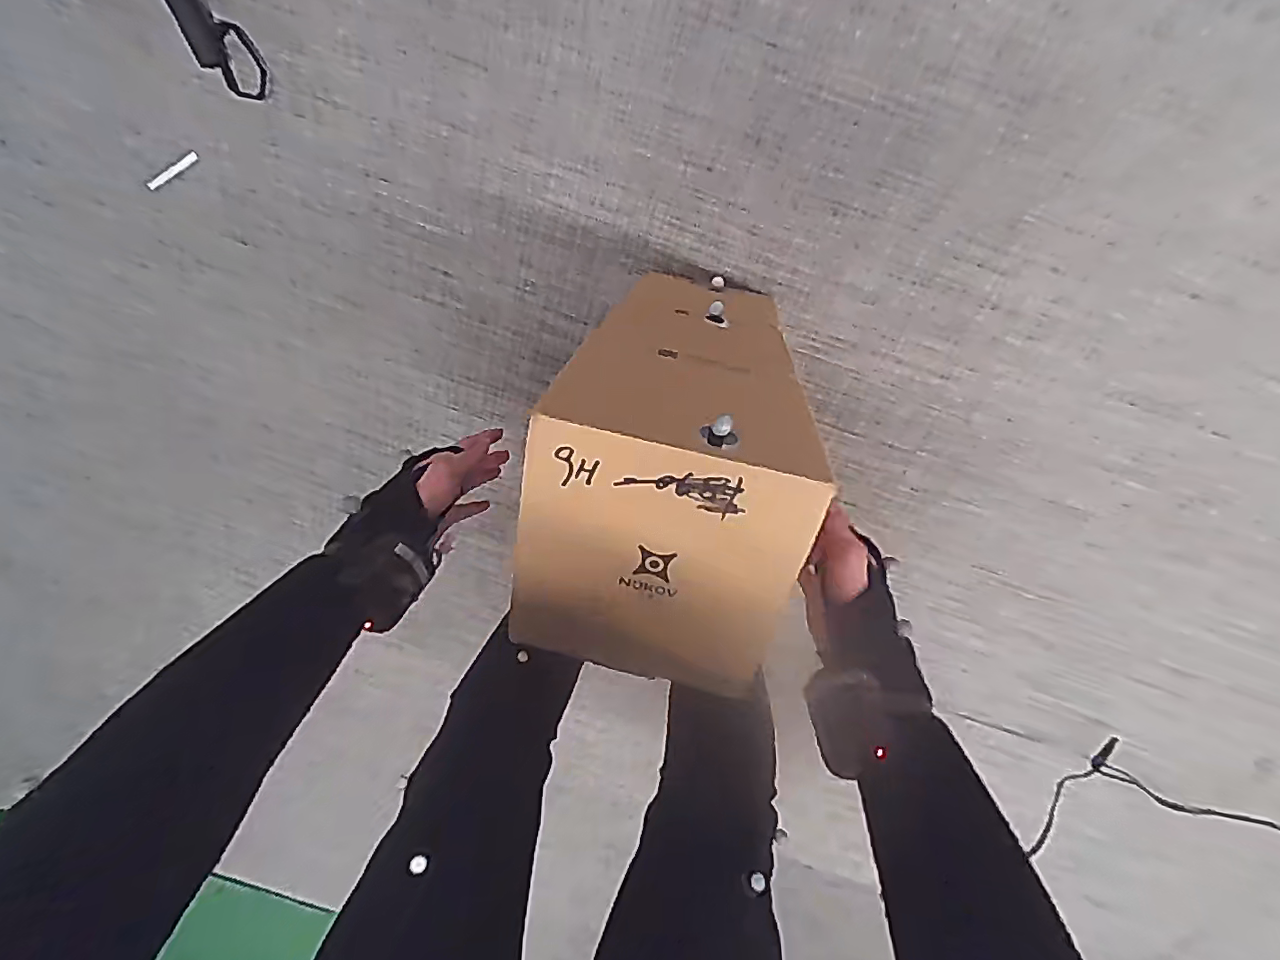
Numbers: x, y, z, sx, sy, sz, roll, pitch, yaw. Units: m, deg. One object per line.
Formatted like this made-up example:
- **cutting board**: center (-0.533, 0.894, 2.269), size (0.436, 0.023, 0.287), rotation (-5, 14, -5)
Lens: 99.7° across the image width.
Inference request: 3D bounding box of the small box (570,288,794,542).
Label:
- **small box**: center (0.038, -0.070, 0.530), size (0.168, 0.176, 0.179), rotation (12, 121, 1)

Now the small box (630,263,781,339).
- **small box**: center (0.066, -0.151, 0.668), size (0.168, 0.176, 0.179), rotation (13, 121, 2)
